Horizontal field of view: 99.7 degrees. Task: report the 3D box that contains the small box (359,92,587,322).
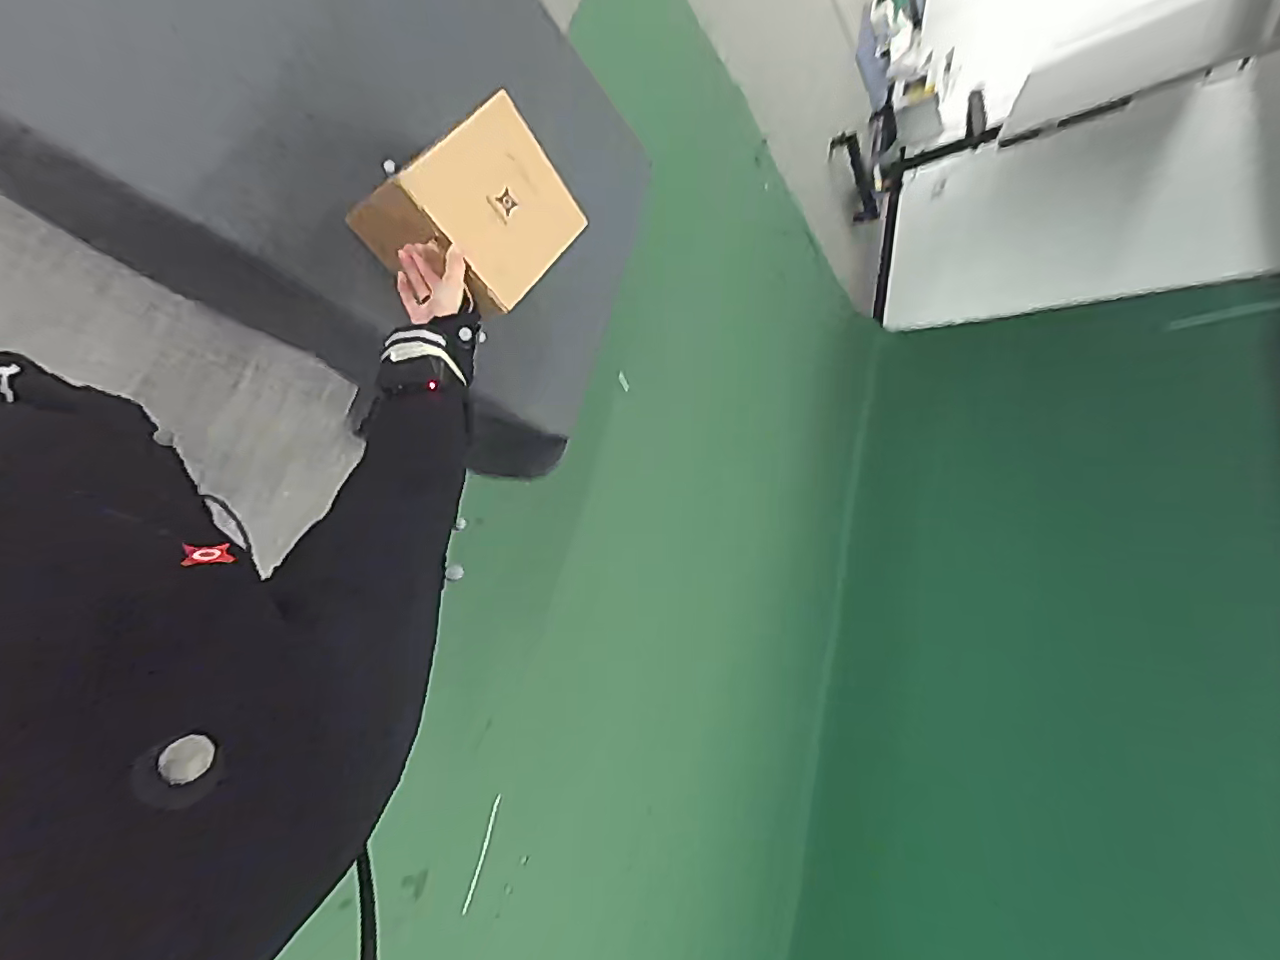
[{"bbox_3d":[-0.205,-0.311,0.653,0.179,0.176,0.168,-58,132,-22],"label":"small box"}]
